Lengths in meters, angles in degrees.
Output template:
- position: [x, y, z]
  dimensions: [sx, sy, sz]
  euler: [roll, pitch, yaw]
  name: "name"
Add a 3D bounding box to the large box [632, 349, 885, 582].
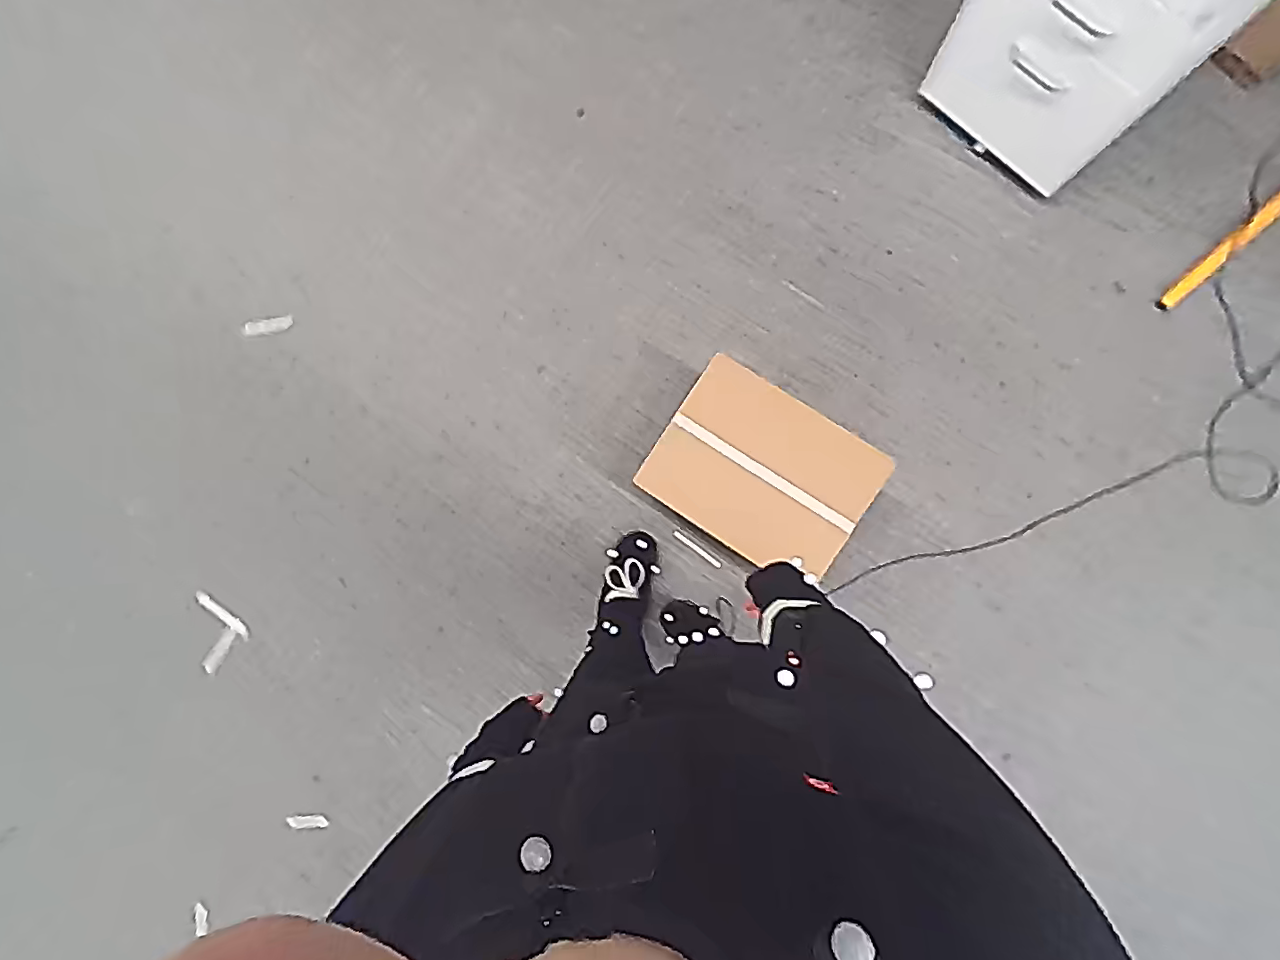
- position: [0.245, -0.025, 1.209]
  dimensions: [0.408, 0.320, 0.320]
  euler: [34, 90, 6]
  name: "large box"
